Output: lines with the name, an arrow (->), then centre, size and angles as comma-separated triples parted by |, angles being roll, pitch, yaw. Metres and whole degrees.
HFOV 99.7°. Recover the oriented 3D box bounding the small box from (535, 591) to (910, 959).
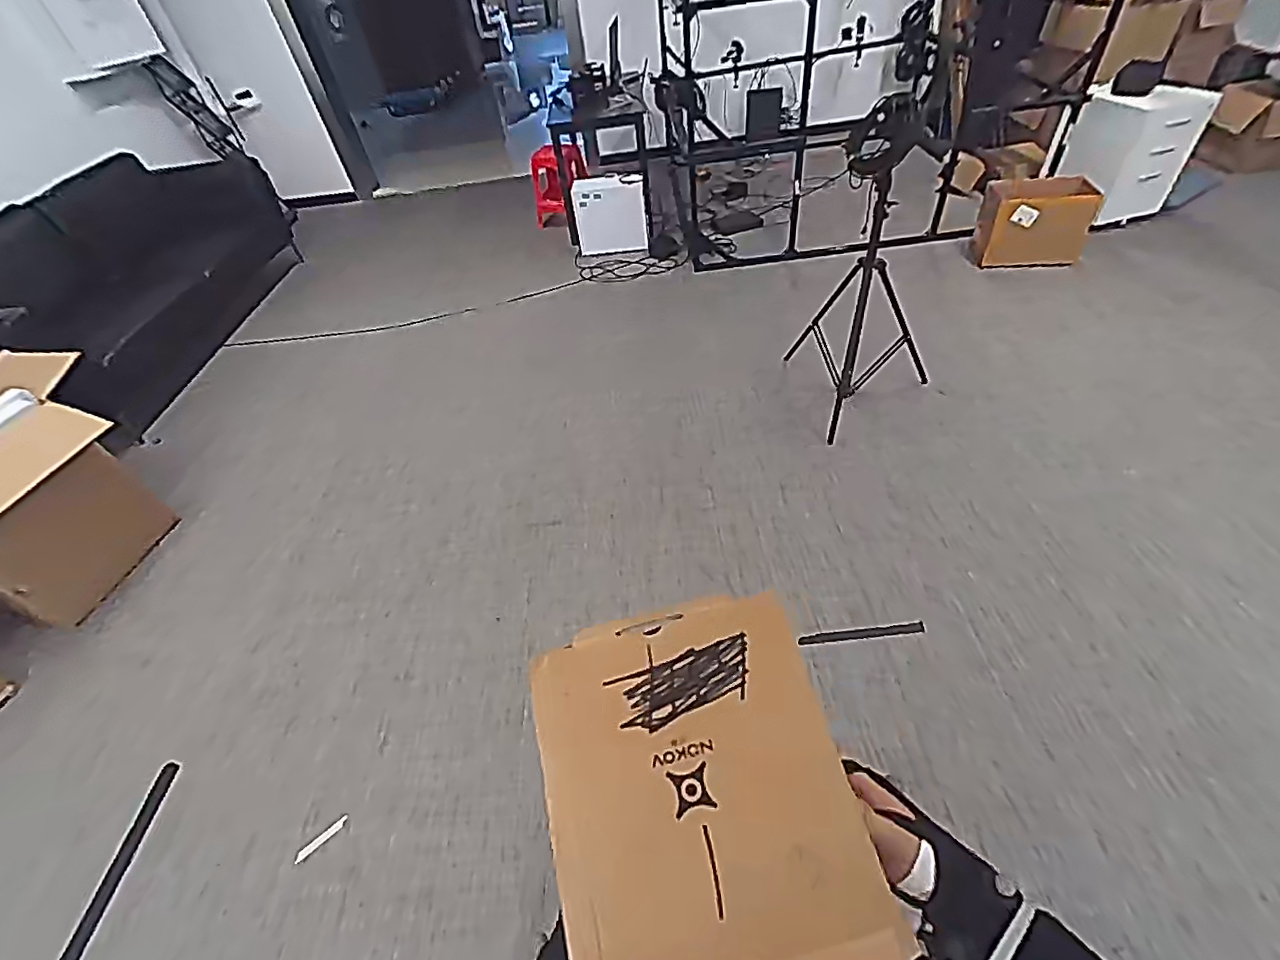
small box -> 0.040, 0.200, 0.366 | 0.168, 0.176, 0.179 | -16, 60, -1
